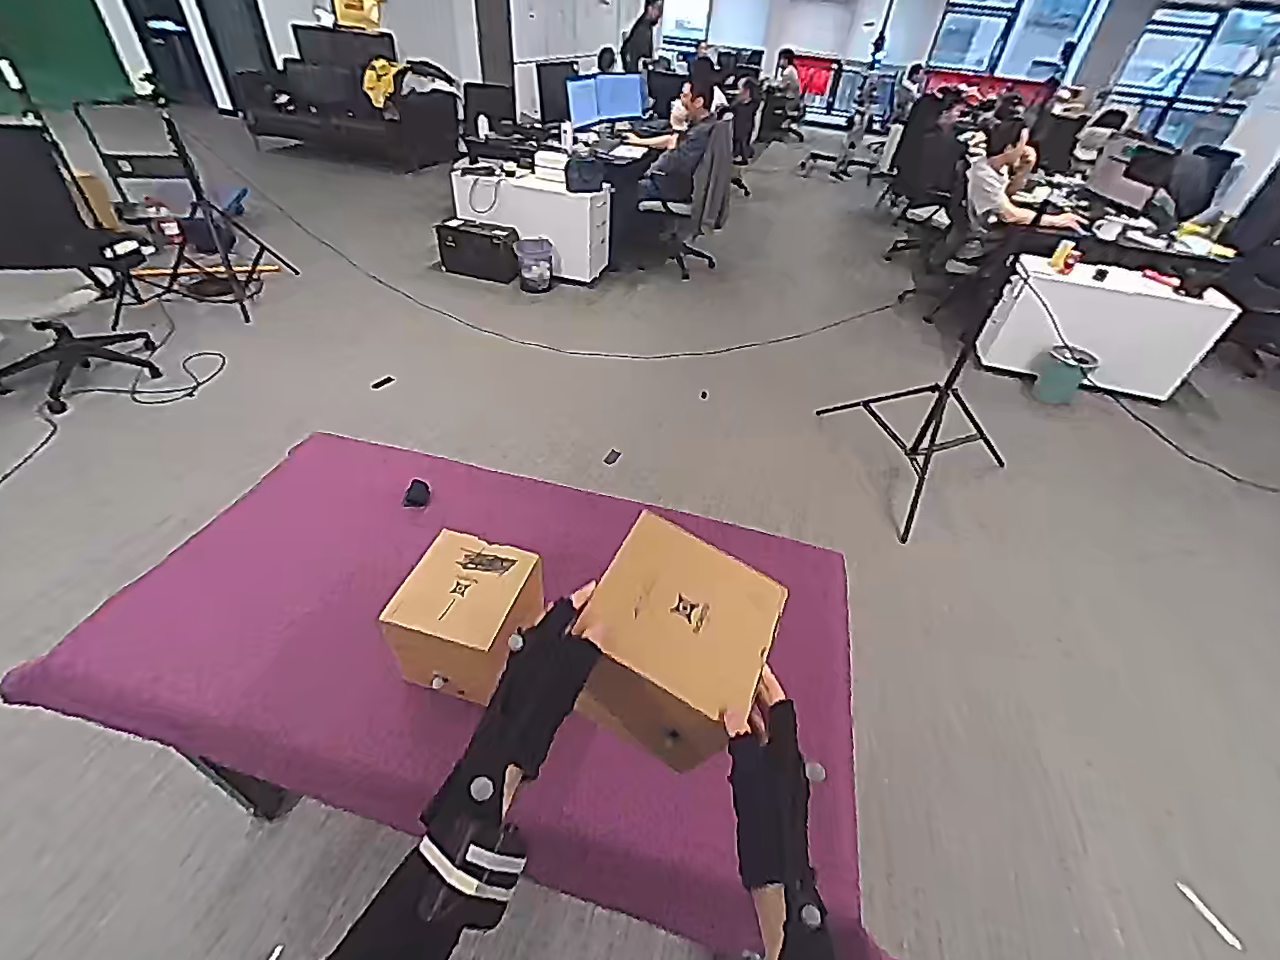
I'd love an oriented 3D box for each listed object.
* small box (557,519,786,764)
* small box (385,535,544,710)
[{"bbox_3d":[0.029,0.181,0.589,0.179,0.176,0.168,26,46,6],"label":"small box"},{"bbox_3d":[-0.257,0.219,0.837,0.168,0.176,0.179,13,42,9],"label":"small box"}]
